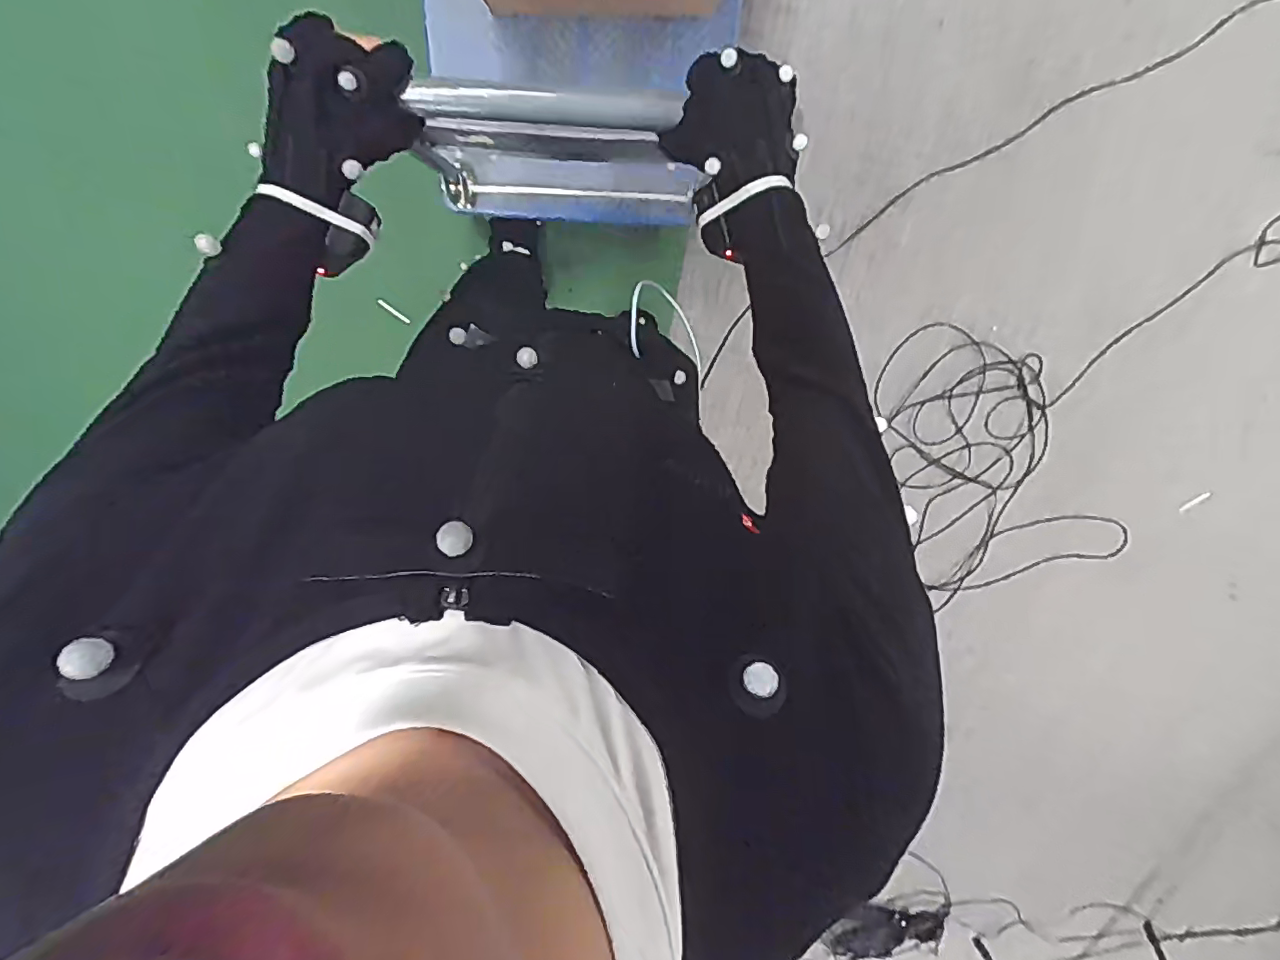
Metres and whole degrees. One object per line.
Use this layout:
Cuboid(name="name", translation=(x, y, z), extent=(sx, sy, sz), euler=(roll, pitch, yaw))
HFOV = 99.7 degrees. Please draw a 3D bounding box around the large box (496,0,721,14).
Cuboid(name="large box", translation=(-0.054, -0.930, 0.793), extent=(0.408, 0.320, 0.320), euler=(-1, 114, 0))
